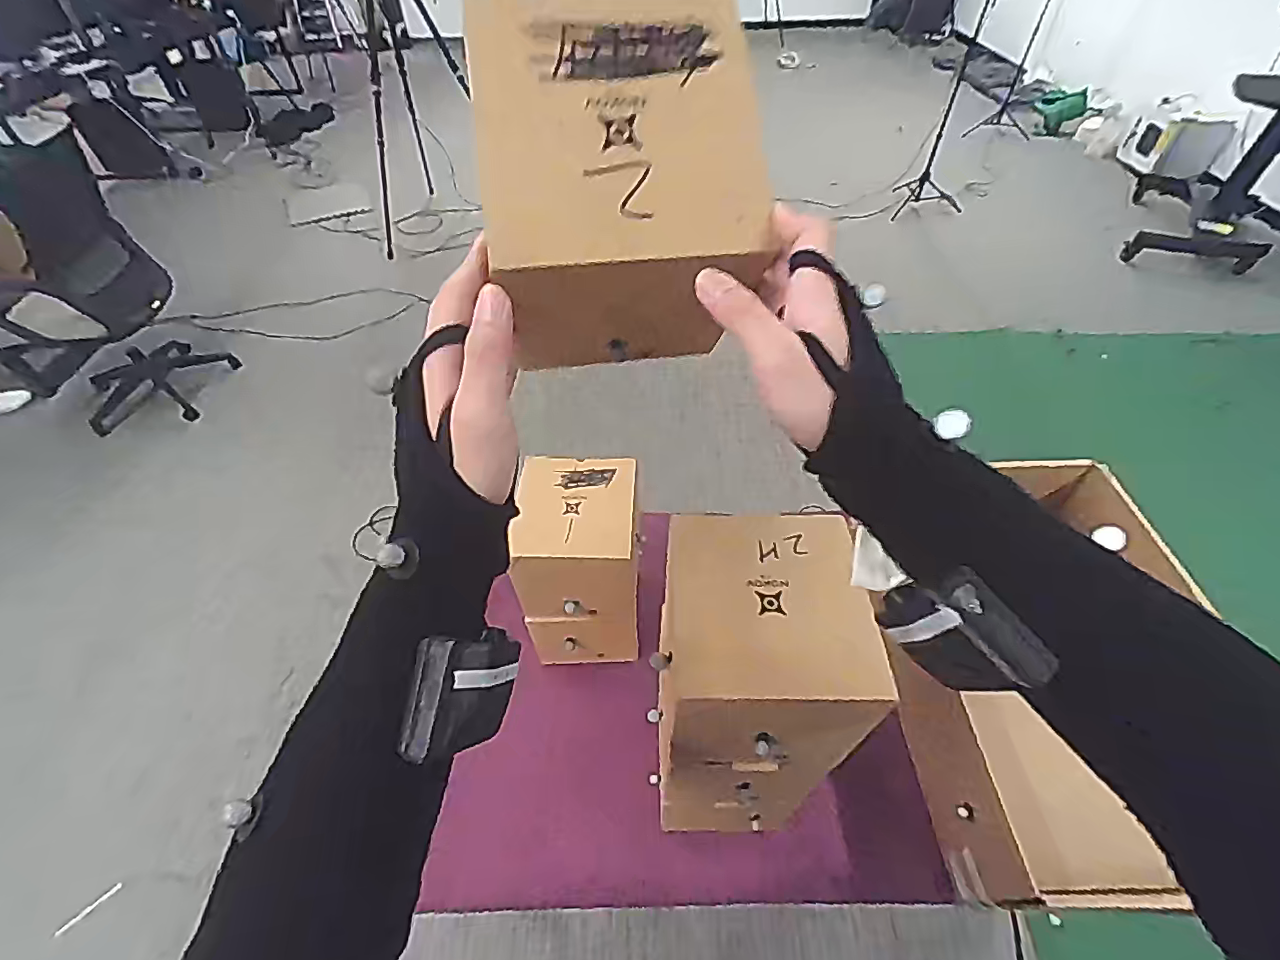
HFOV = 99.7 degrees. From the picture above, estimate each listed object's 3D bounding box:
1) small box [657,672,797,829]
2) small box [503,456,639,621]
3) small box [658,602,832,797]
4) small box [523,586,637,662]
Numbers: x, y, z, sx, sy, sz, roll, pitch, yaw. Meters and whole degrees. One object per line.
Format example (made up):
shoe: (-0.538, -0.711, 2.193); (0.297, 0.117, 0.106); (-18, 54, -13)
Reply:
small box: (0.109, 0.372, 0.753); (0.168, 0.176, 0.179); (0, 47, 1)
small box: (-0.088, 0.086, 0.793); (0.168, 0.176, 0.179); (1, 49, 3)
small box: (0.106, 0.260, 0.634); (0.168, 0.176, 0.179); (0, 48, 0)
small box: (-0.091, 0.197, 0.915); (0.168, 0.176, 0.179); (-2, 48, 0)
